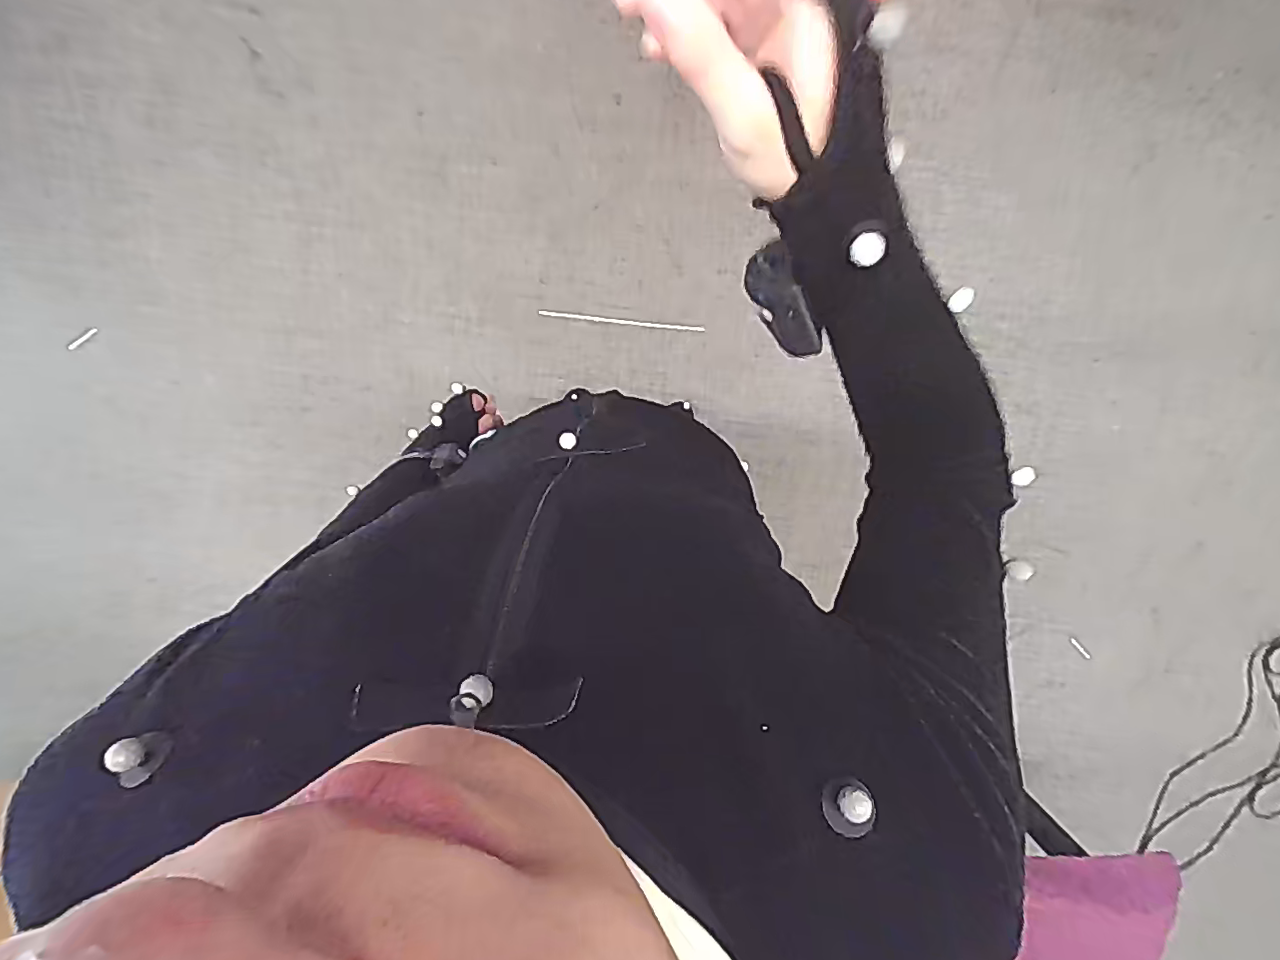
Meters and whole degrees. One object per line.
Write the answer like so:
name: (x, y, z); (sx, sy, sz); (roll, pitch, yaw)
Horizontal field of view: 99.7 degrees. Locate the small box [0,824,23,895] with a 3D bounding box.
small box: (-1.603, 0.918, 1.242); (0.179, 0.176, 0.168); (8, 96, -3)
